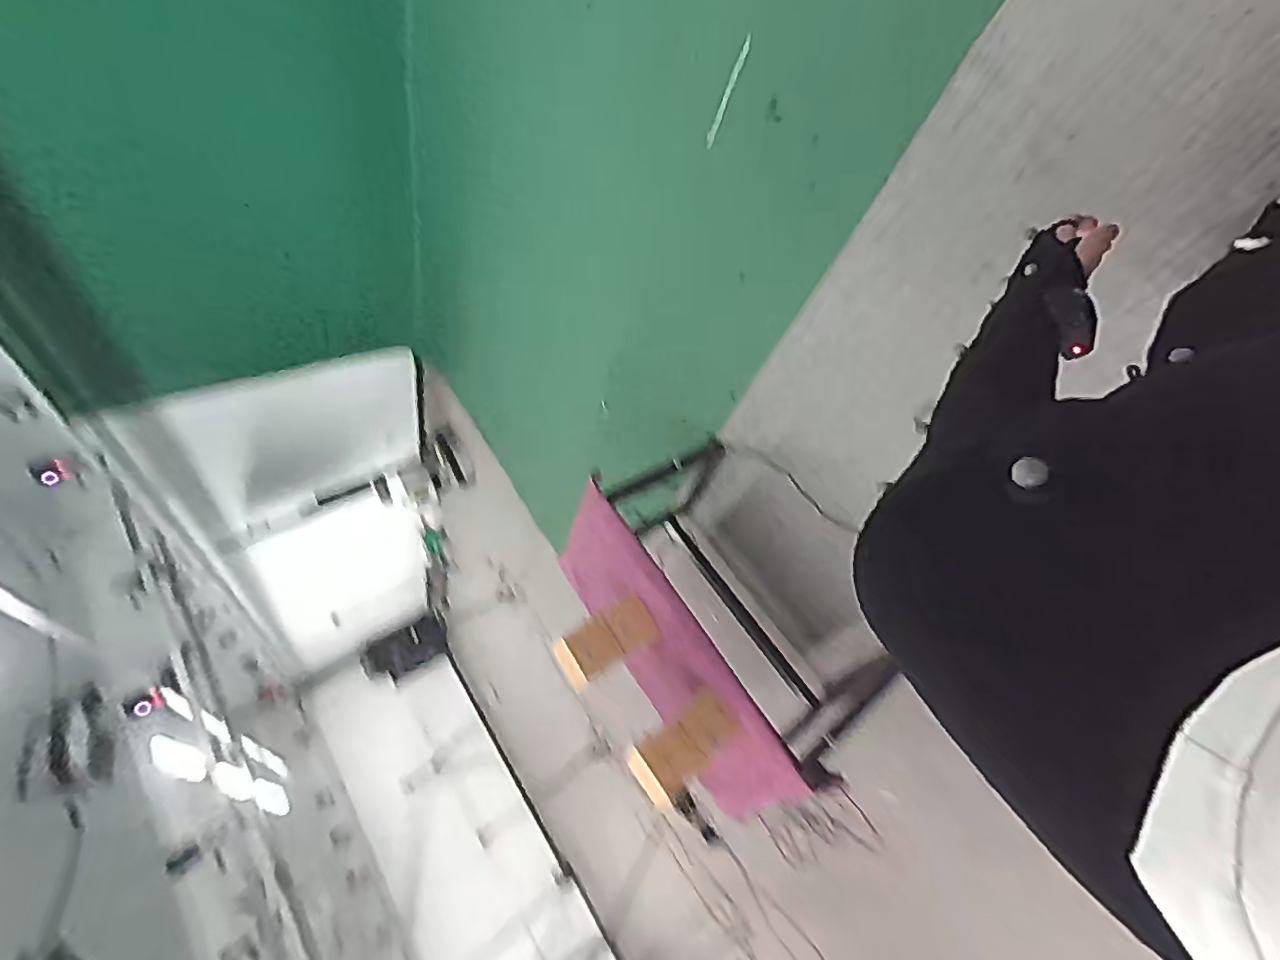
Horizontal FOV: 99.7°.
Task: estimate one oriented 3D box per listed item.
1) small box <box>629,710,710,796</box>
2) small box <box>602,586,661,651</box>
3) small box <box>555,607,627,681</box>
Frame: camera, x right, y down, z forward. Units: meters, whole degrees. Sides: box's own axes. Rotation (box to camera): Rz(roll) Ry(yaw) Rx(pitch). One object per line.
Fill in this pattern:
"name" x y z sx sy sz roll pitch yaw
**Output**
"small box" 0.093 0.871 1.740 0.179 0.176 0.168 48 145 24
"small box" -0.050 0.524 2.016 0.179 0.176 0.168 58 147 13
"small box" -0.172 0.583 1.926 0.179 0.176 0.168 57 146 13
